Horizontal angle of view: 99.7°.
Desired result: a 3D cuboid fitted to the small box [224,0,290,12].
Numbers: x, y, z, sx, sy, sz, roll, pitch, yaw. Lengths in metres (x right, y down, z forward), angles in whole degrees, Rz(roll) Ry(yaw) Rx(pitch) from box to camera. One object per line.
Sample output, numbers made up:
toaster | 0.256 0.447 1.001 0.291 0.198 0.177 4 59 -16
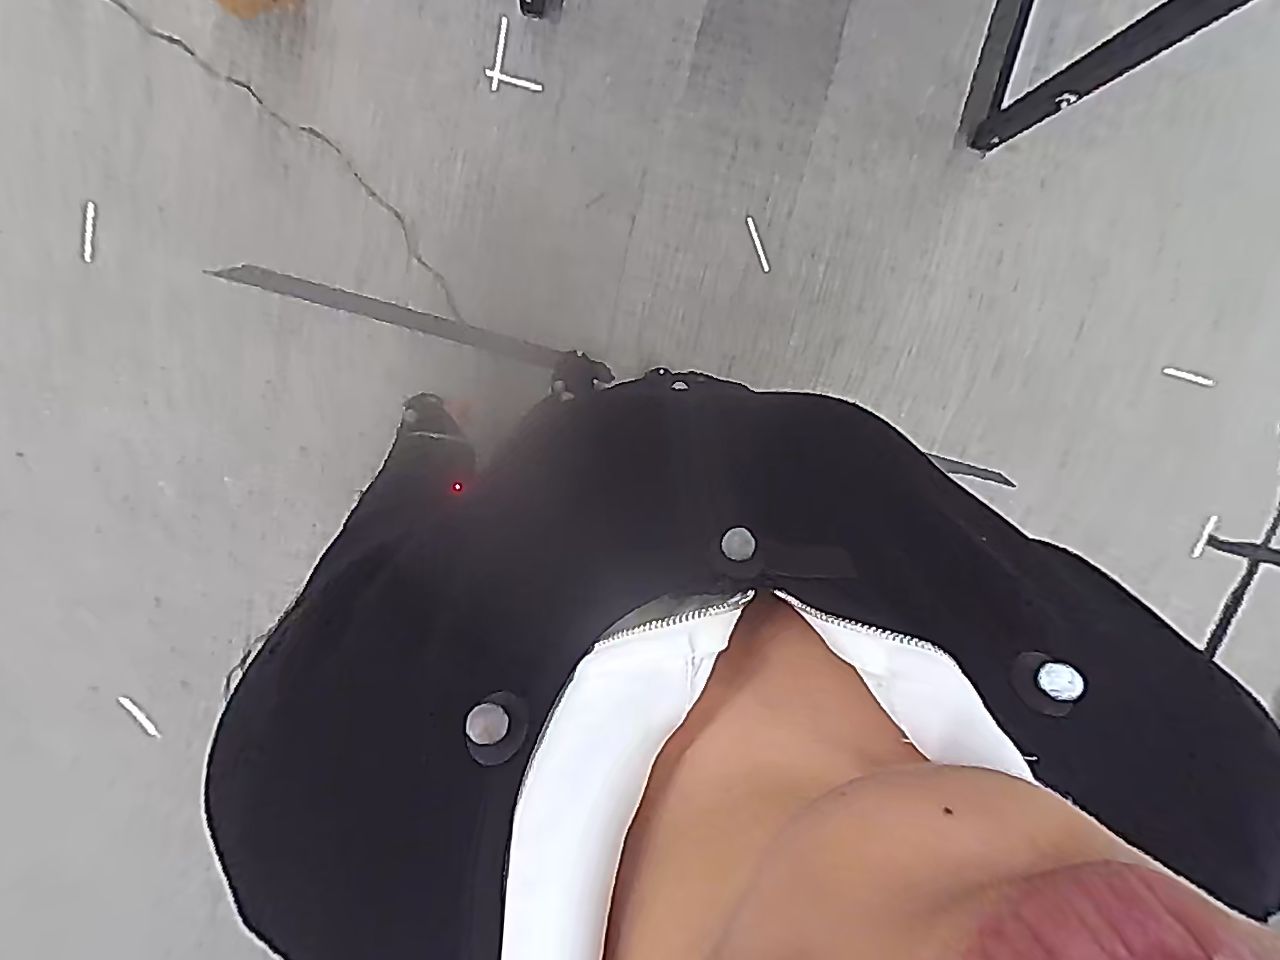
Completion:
small box | -0.854 -1.136 1.133 0.168 0.176 0.179 -18 102 0
